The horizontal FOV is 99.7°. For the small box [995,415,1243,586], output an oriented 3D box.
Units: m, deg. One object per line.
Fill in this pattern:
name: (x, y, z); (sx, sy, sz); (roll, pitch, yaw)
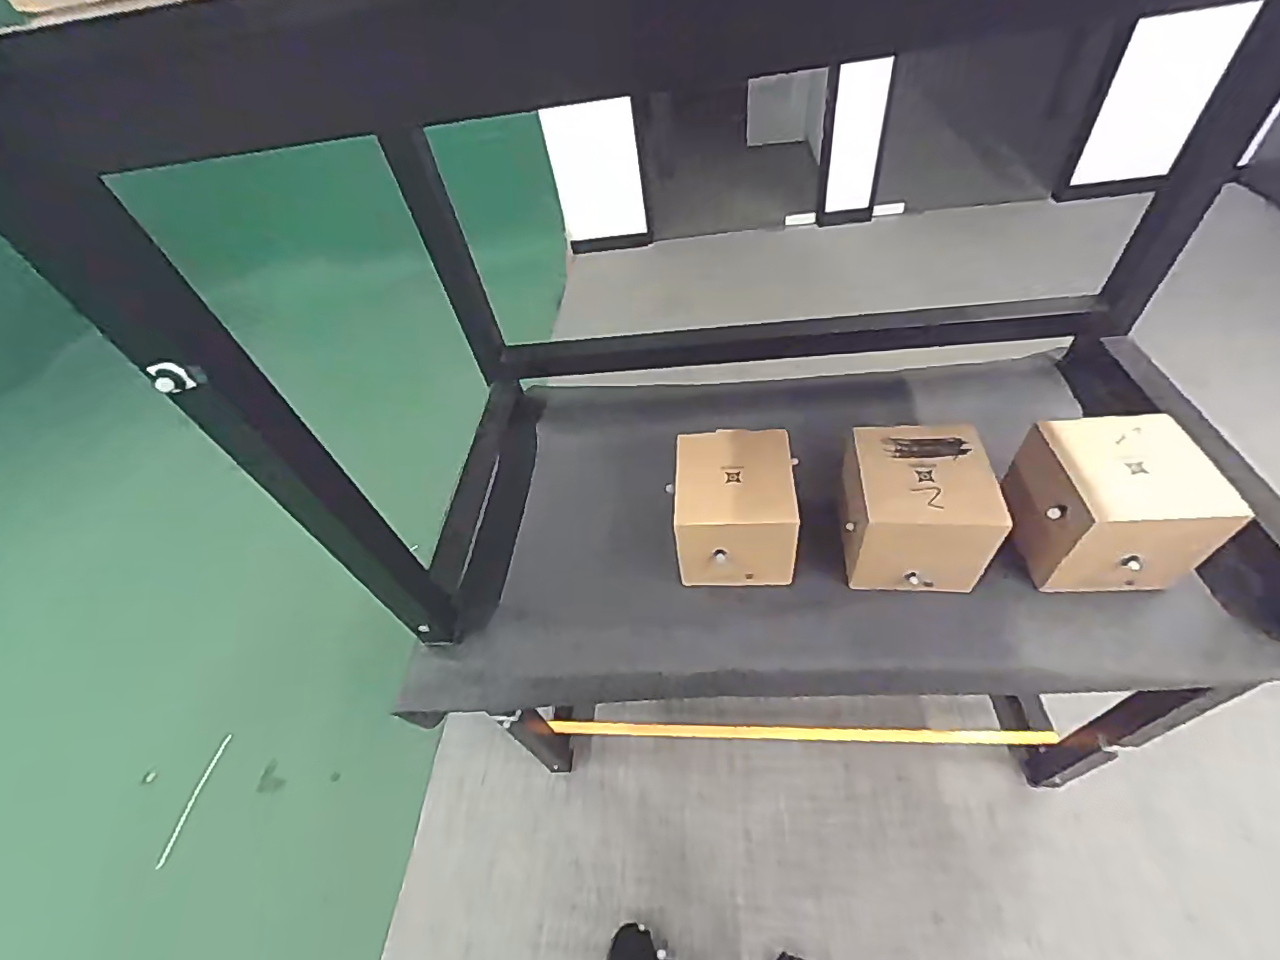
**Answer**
small box: (0.629, 0.034, 0.743); (0.168, 0.176, 0.179); (-3, 48, 8)

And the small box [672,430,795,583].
small box: (0.143, 0.045, 0.829); (0.168, 0.176, 0.179); (-2, 49, 9)
